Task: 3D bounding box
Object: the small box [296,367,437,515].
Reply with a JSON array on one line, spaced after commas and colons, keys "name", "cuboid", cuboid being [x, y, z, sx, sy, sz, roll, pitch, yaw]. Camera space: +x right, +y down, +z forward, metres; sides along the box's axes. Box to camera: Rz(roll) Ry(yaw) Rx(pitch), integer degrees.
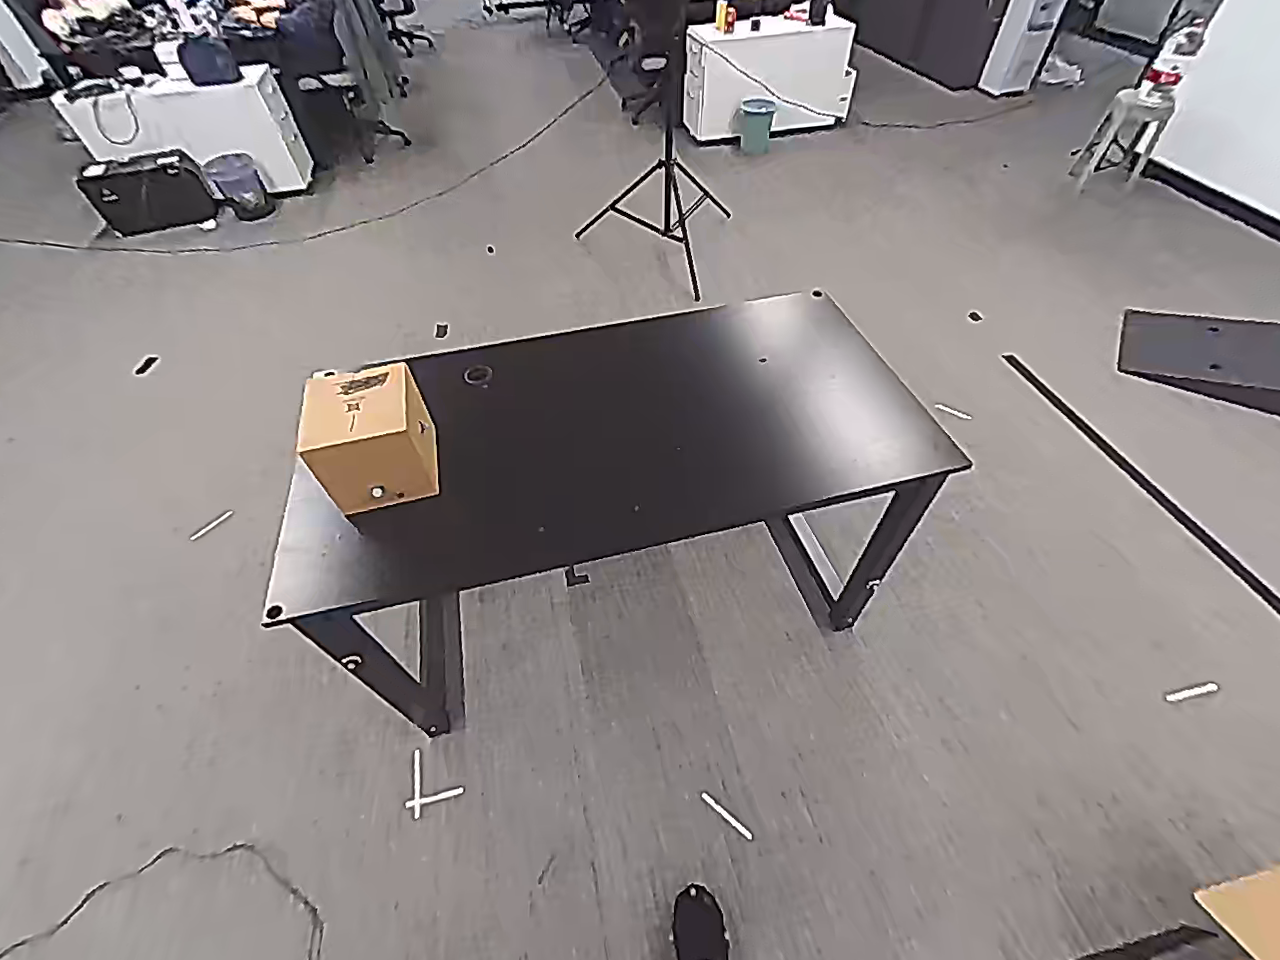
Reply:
[{"name": "small box", "cuboid": [-0.465, -0.066, 0.946, 0.168, 0.176, 0.179, -13, 52, -9]}]
